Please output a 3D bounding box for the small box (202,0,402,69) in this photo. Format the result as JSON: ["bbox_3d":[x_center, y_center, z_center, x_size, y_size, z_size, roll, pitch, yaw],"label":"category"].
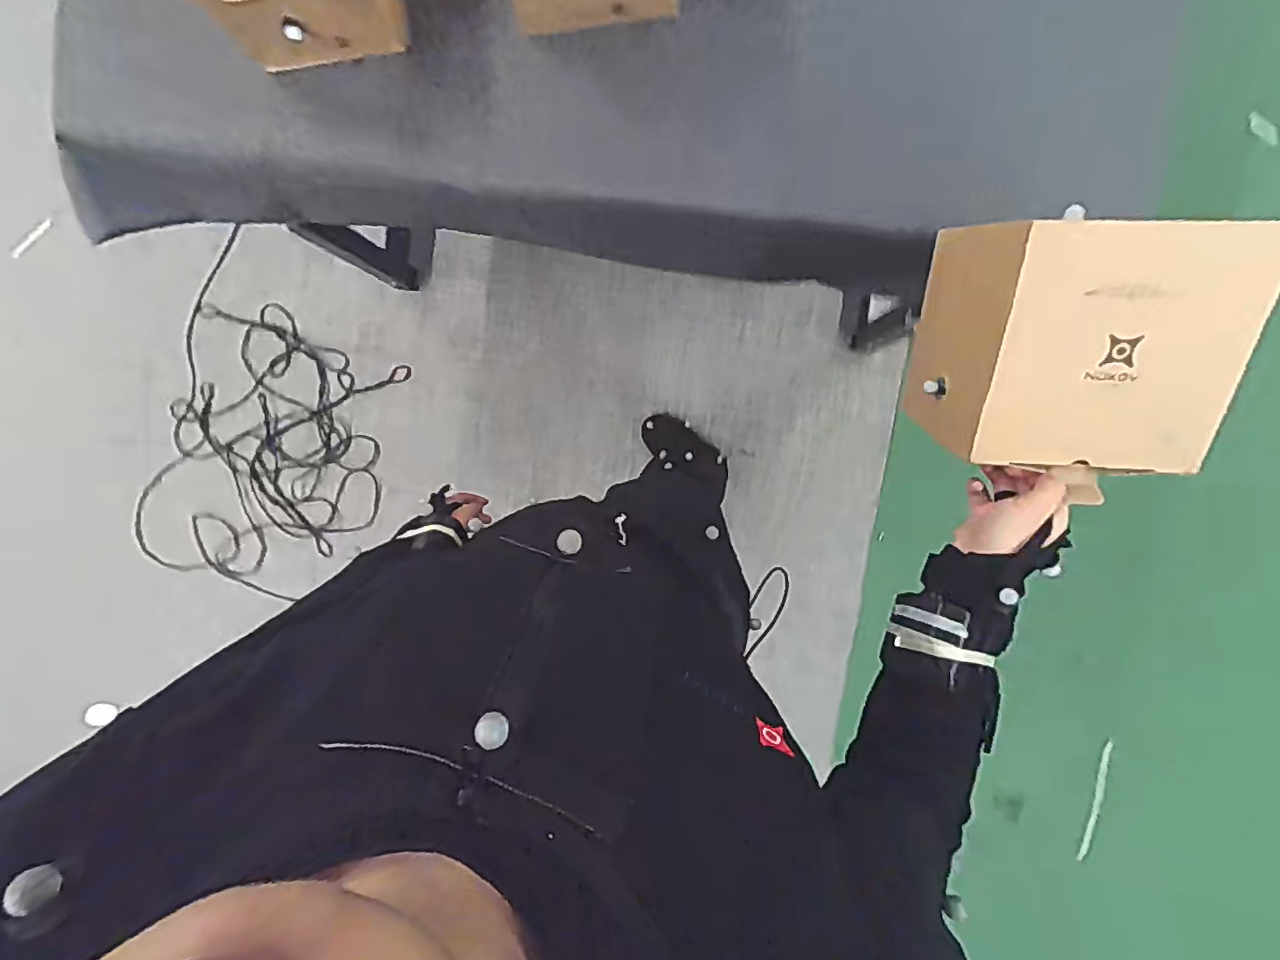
[{"bbox_3d":[-0.349,-0.539,0.505,0.168,0.176,0.179,-8,94,3],"label":"small box"}]
